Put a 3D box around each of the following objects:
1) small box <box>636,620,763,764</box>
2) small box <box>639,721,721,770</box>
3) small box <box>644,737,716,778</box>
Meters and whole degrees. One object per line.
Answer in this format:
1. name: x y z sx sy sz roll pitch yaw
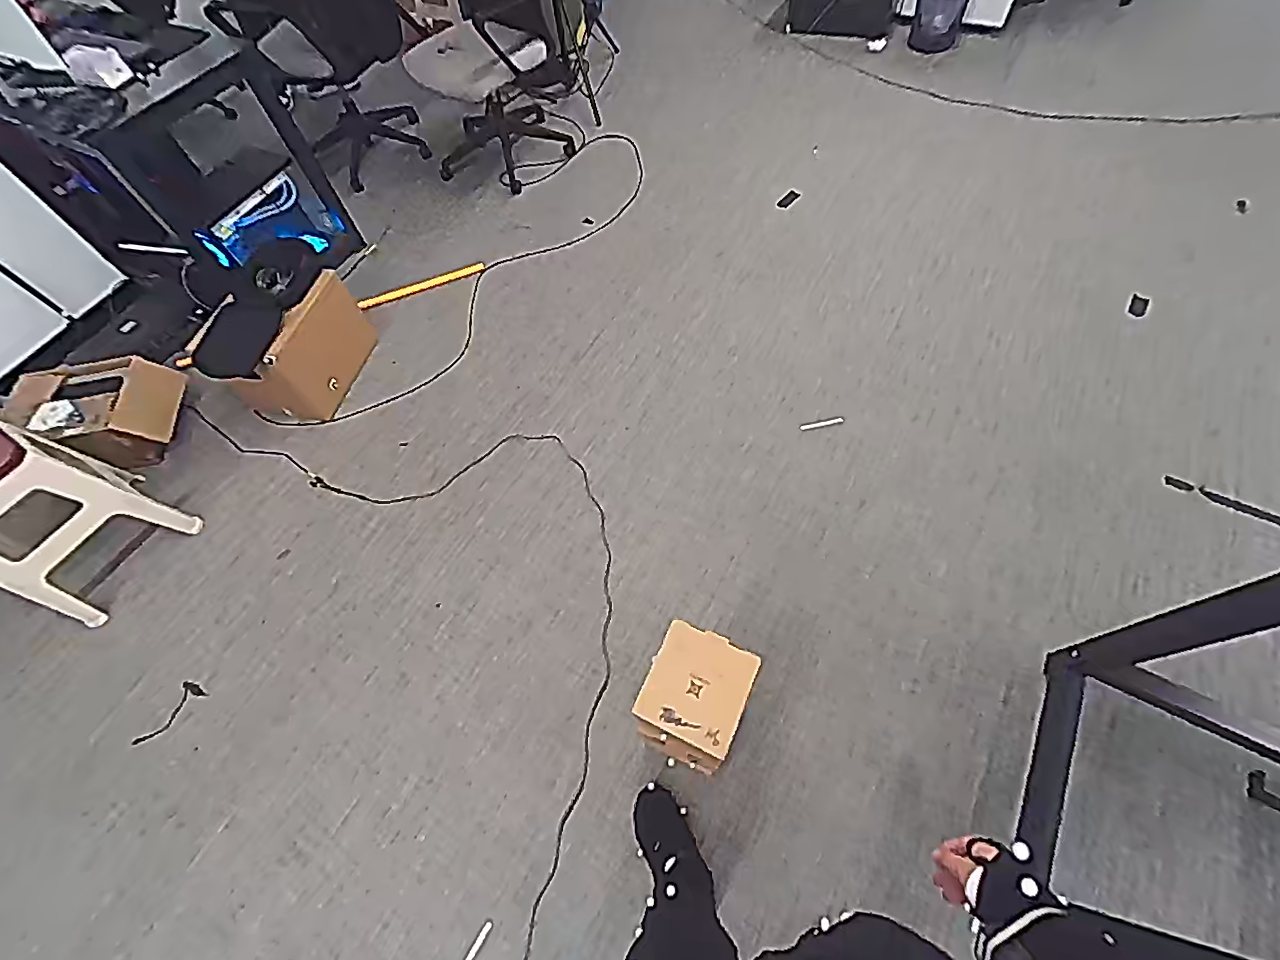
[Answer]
1. small box: 0.105 0.384 0.971 0.168 0.176 0.179 21 64 16
2. small box: 0.111 0.473 1.110 0.168 0.176 0.179 18 62 14
3. small box: 0.122 0.559 1.246 0.168 0.176 0.179 21 65 16
